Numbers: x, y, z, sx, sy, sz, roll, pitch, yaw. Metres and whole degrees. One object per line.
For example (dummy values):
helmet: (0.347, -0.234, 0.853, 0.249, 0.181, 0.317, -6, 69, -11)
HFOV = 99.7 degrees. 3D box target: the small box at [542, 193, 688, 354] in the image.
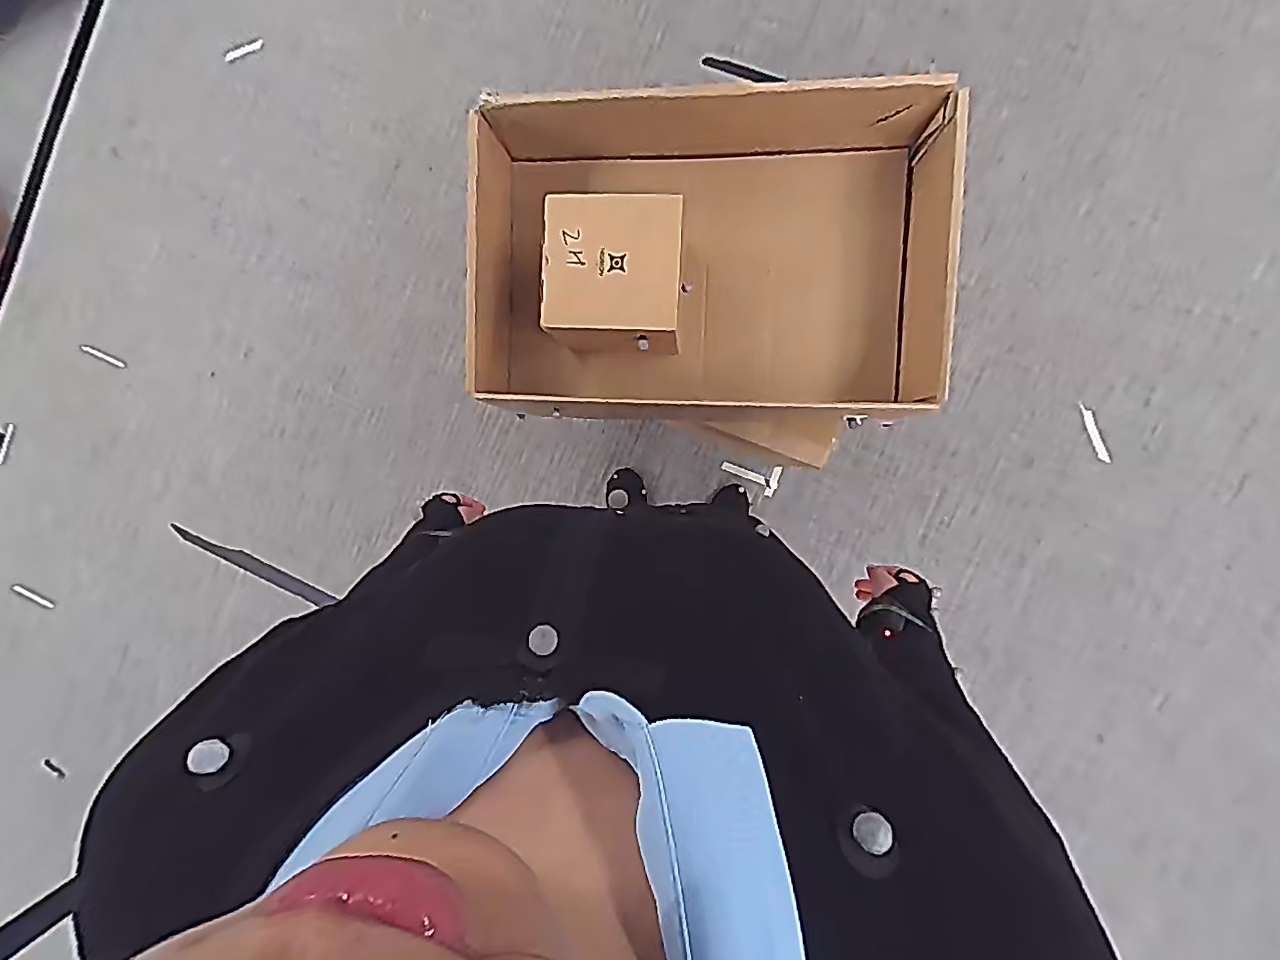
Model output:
small box: (-0.027, -0.274, 0.750, 0.179, 0.176, 0.168, 4, 93, 5)
